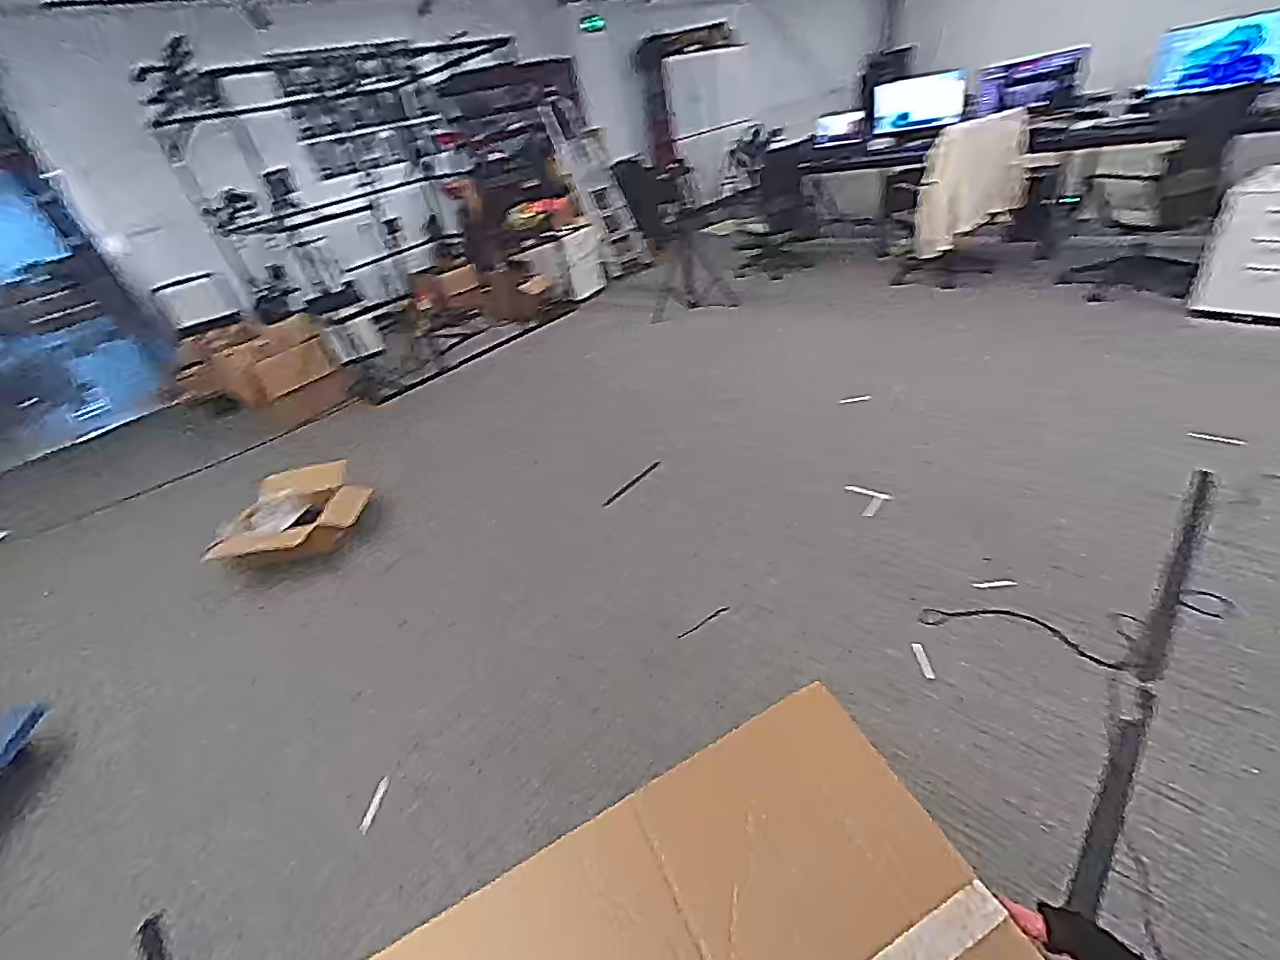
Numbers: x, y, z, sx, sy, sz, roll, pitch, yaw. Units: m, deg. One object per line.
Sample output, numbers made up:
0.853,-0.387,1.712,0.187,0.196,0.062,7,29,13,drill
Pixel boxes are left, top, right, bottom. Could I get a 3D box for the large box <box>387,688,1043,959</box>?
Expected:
0.066,0.442,0.396,0.408,0.320,0.320,-26,48,-11,large box
